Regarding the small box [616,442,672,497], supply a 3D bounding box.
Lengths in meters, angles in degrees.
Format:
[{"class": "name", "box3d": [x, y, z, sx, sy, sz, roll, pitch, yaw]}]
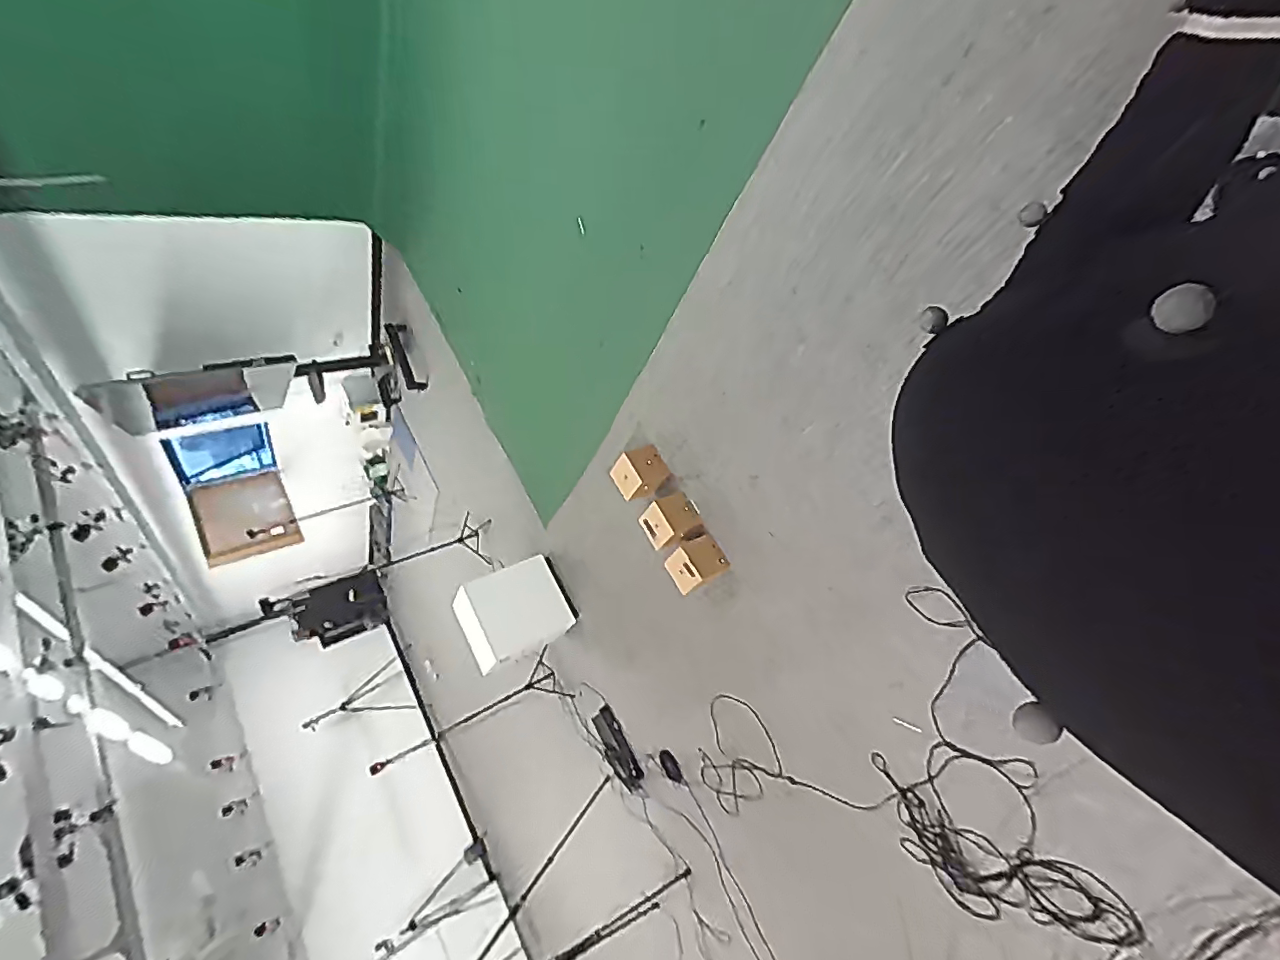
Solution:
[{"class": "small box", "box3d": [0.024, -0.051, 2.435, 0.168, 0.176, 0.179, 59, 143, 18]}]

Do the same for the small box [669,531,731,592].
[{"class": "small box", "box3d": [0.261, 0.339, 2.283, 0.168, 0.176, 0.179, 58, 143, 18]}]
